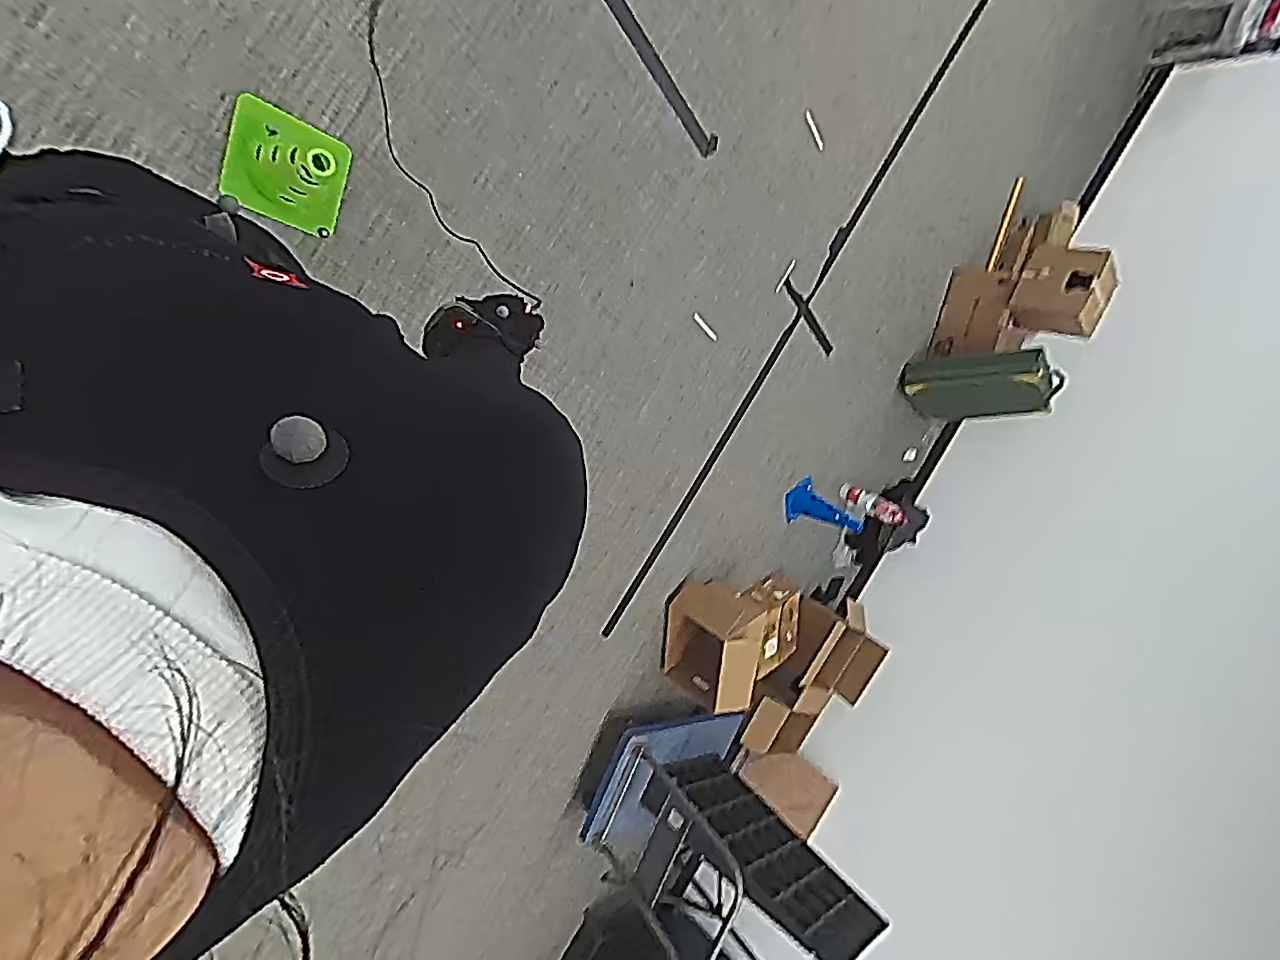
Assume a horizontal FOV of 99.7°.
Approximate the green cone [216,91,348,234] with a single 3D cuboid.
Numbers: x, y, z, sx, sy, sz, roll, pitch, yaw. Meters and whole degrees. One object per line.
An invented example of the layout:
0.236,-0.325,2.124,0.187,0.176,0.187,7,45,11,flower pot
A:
-0.609,-0.569,0.961,0.202,0.368,0.200,11,103,-42,green cone
